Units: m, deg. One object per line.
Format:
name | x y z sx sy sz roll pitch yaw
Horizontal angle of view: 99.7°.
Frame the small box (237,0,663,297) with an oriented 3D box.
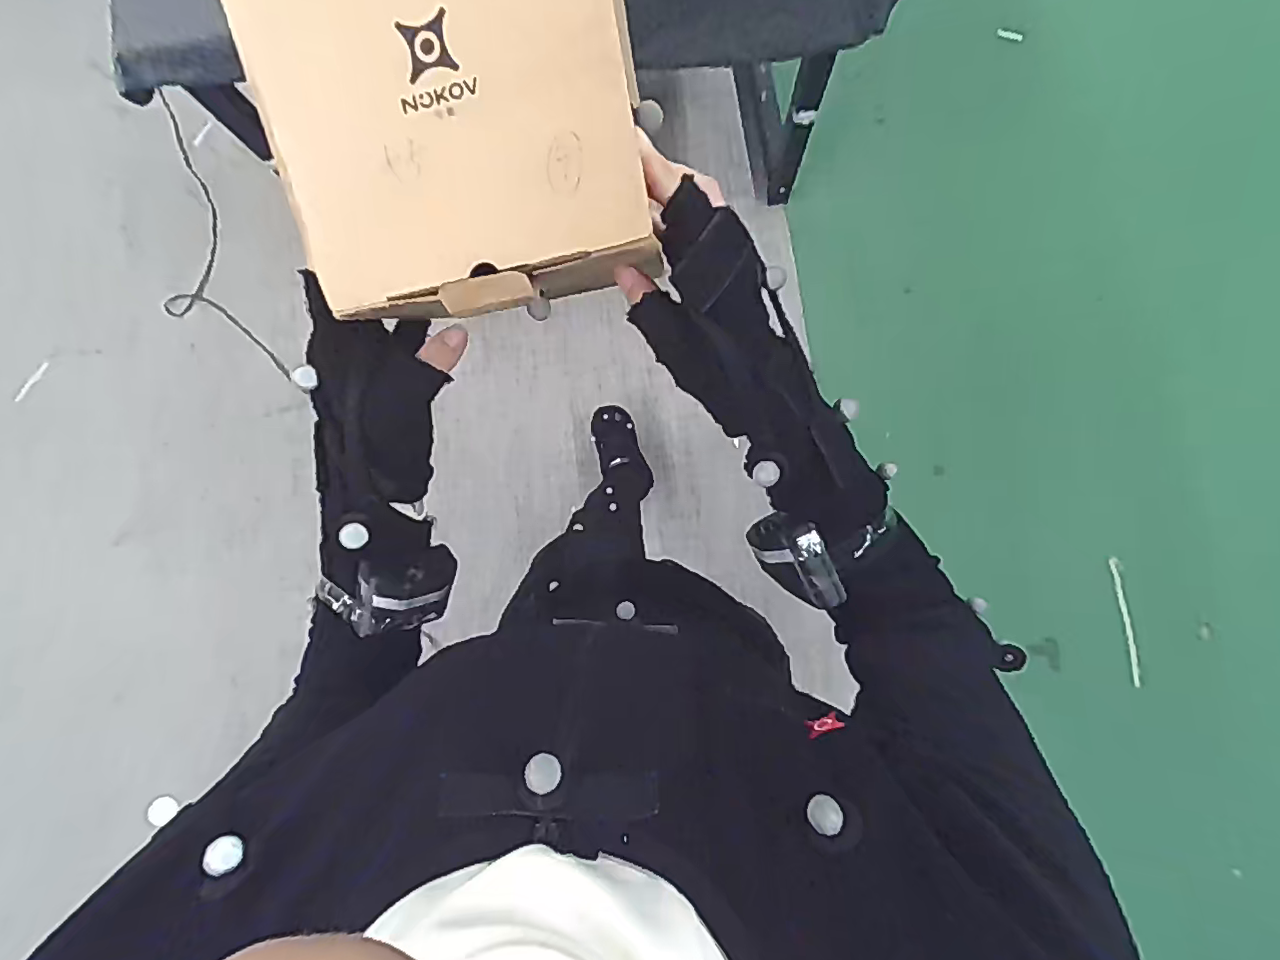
small box | -0.083 -0.214 0.316 0.168 0.176 0.179 -9 107 9
